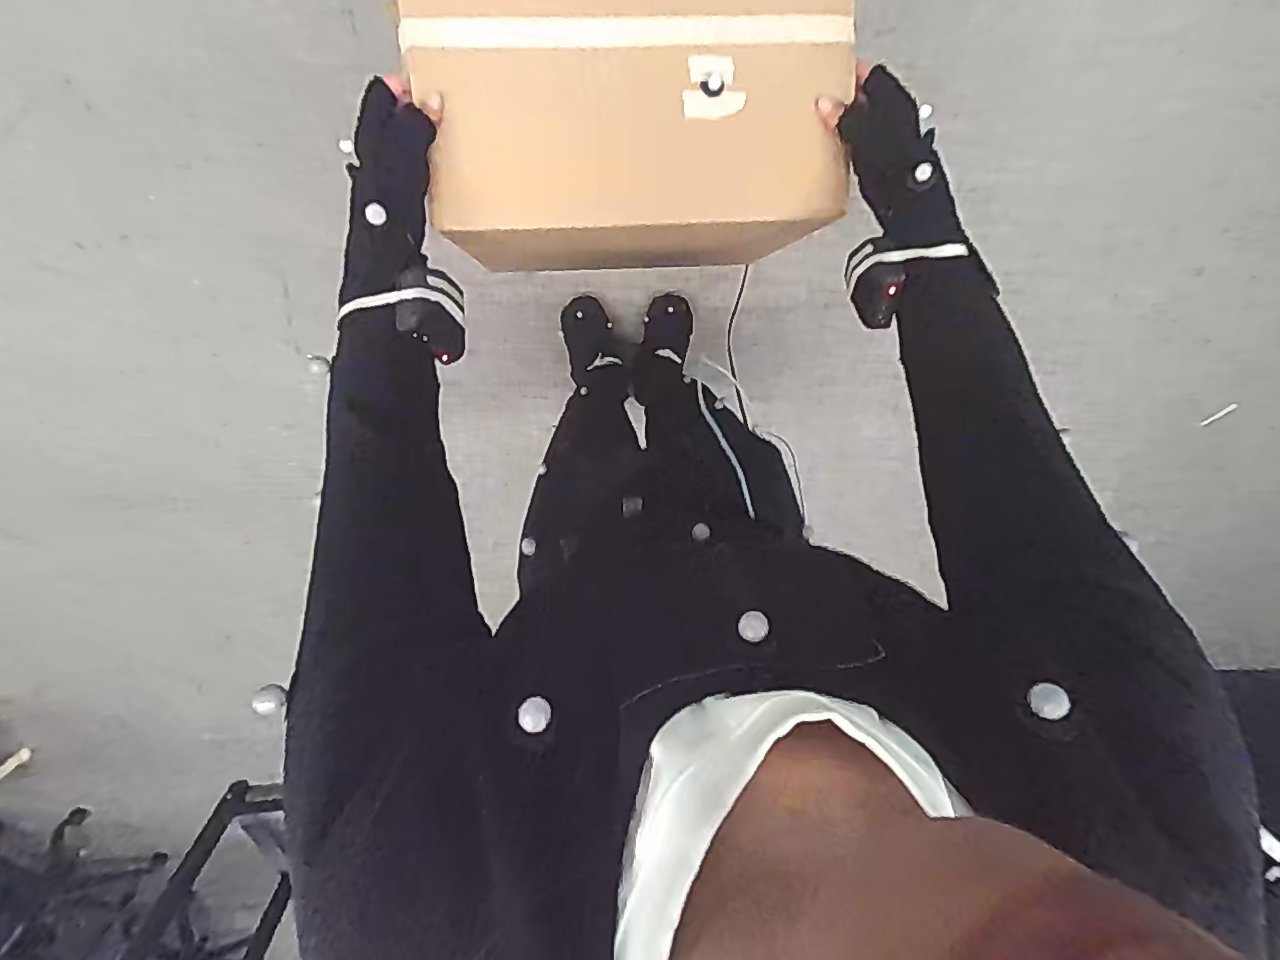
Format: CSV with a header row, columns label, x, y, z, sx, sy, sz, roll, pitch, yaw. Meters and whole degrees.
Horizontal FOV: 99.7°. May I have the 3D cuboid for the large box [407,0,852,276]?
label,x,y,z,sx,sy,sz,roll,pitch,yaw
large box,-0.019,-0.432,0.630,0.408,0.320,0.320,-5,104,-6
